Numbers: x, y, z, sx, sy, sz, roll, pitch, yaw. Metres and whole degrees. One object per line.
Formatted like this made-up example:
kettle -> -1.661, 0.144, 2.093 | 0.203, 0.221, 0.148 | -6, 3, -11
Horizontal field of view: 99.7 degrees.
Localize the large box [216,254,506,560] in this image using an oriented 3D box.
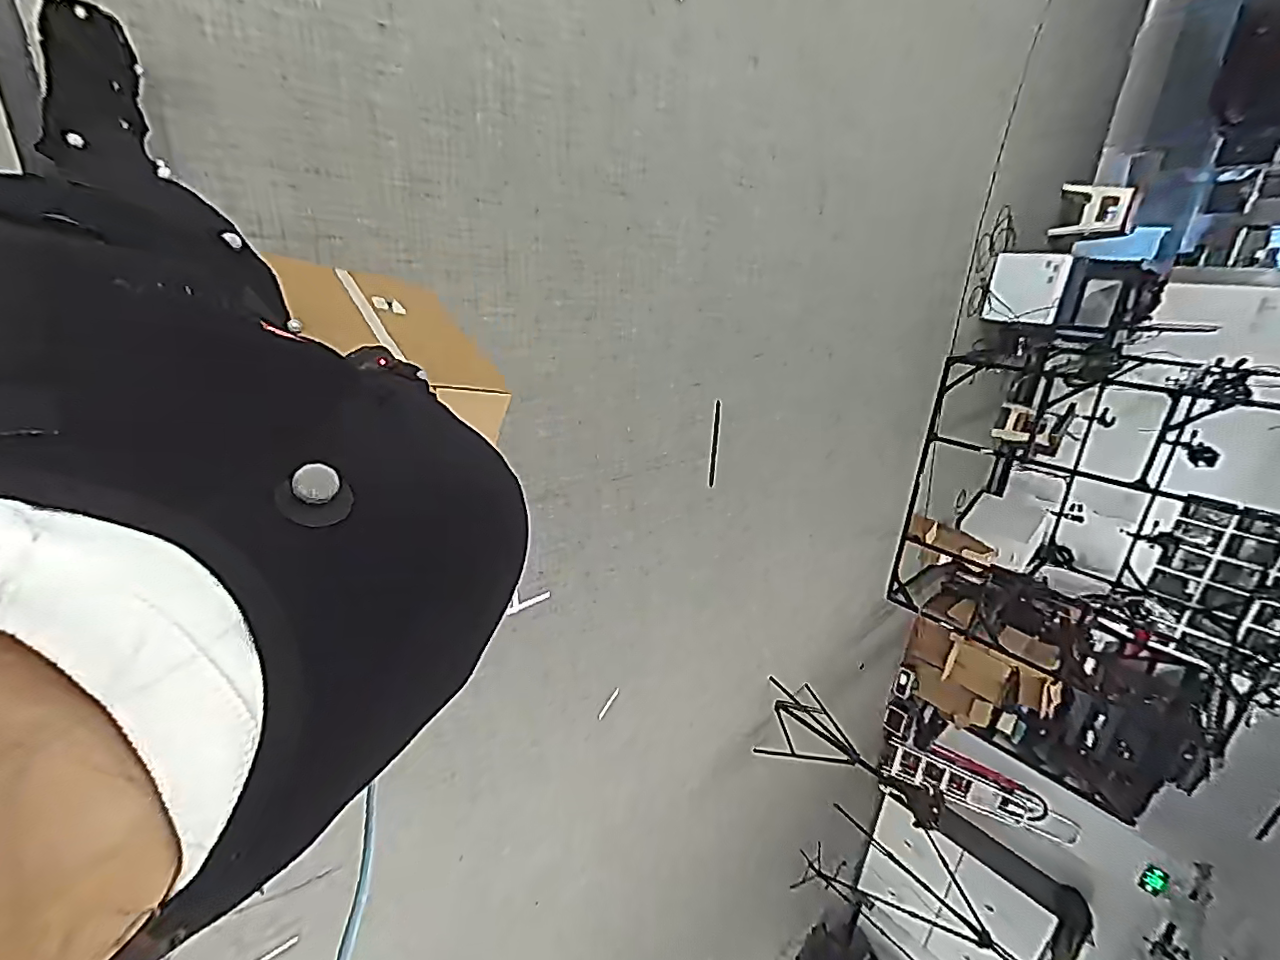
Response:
large box -> -0.485, -0.126, 0.904 | 0.320, 0.408, 0.320 | -2, 127, -45
